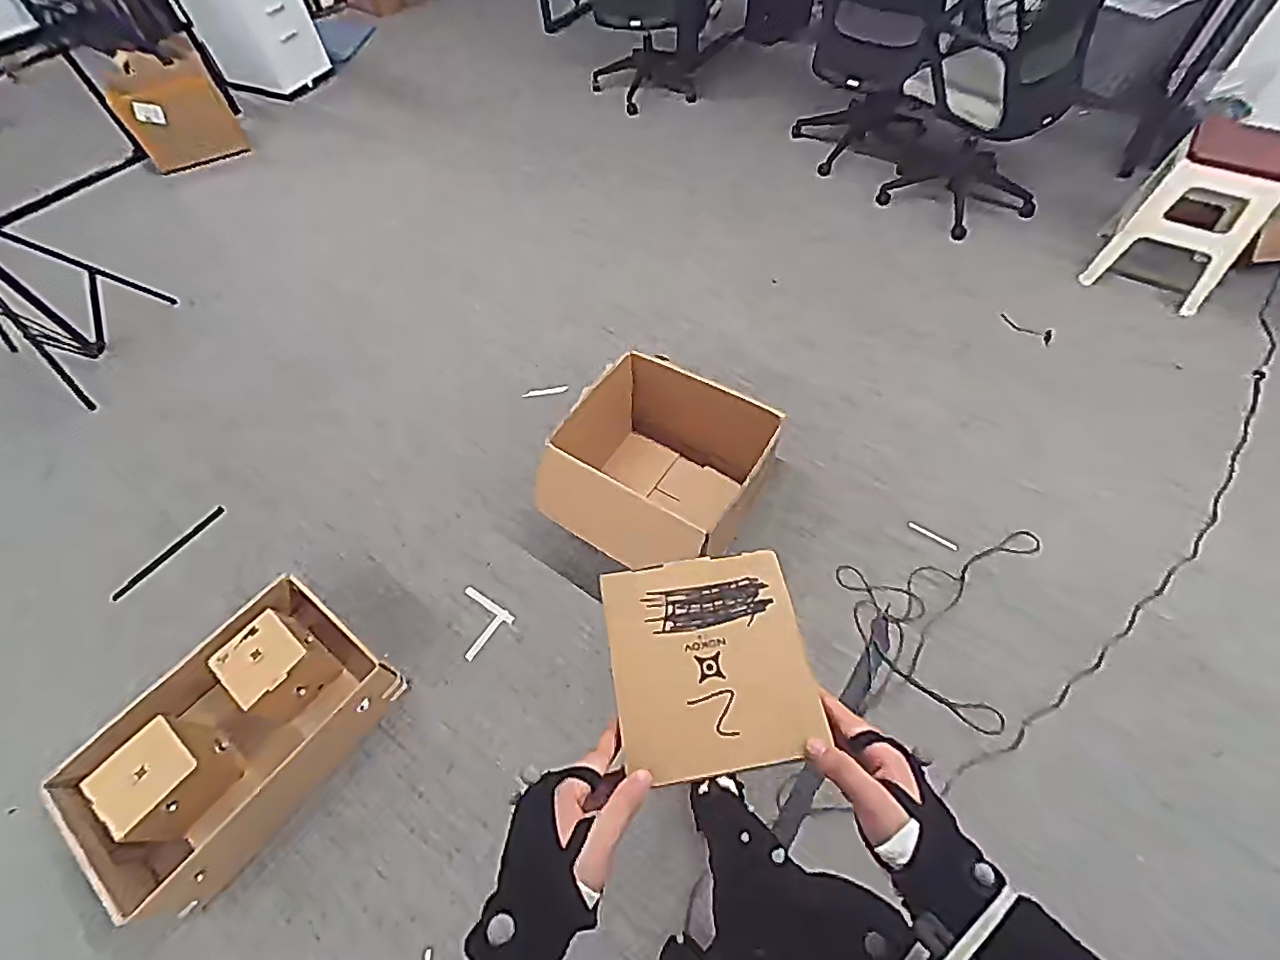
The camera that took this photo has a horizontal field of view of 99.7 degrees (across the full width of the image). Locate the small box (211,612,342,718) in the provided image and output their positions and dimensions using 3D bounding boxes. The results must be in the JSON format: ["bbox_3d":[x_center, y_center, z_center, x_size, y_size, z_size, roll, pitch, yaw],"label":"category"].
[{"bbox_3d":[-0.879,0.460,1.325,0.179,0.176,0.168,35,66,20],"label":"small box"}]

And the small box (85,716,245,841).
[{"bbox_3d":[-1.044,0.665,1.203,0.168,0.176,0.179,32,63,19],"label":"small box"}]
